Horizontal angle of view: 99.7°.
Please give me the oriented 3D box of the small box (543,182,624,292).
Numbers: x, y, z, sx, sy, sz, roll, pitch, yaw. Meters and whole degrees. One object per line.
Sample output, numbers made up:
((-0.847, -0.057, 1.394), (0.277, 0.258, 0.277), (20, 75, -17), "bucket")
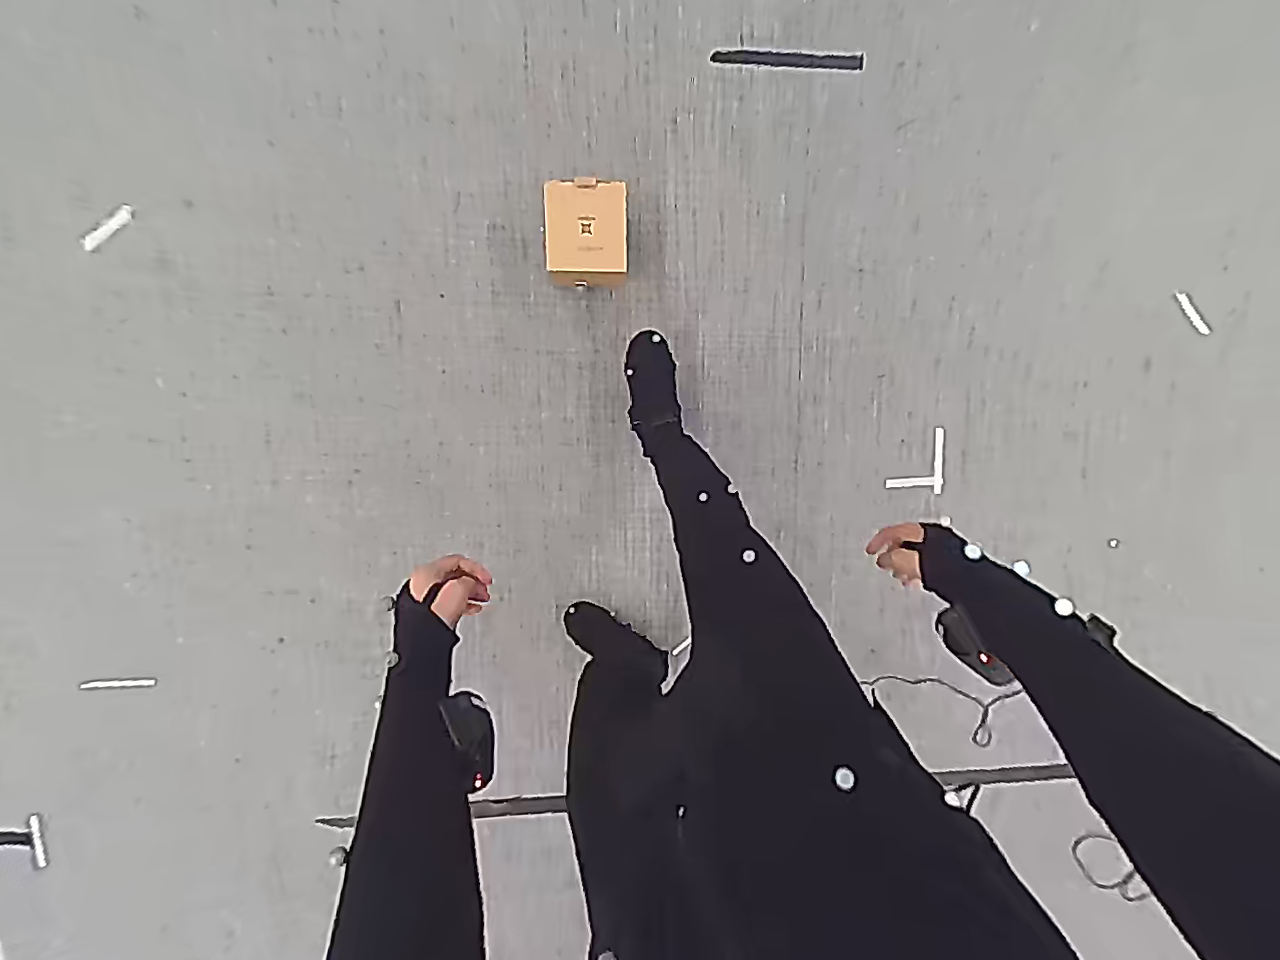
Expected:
((-0.121, -0.518, 1.172), (0.168, 0.176, 0.179), (-1, 97, -5), "small box")
